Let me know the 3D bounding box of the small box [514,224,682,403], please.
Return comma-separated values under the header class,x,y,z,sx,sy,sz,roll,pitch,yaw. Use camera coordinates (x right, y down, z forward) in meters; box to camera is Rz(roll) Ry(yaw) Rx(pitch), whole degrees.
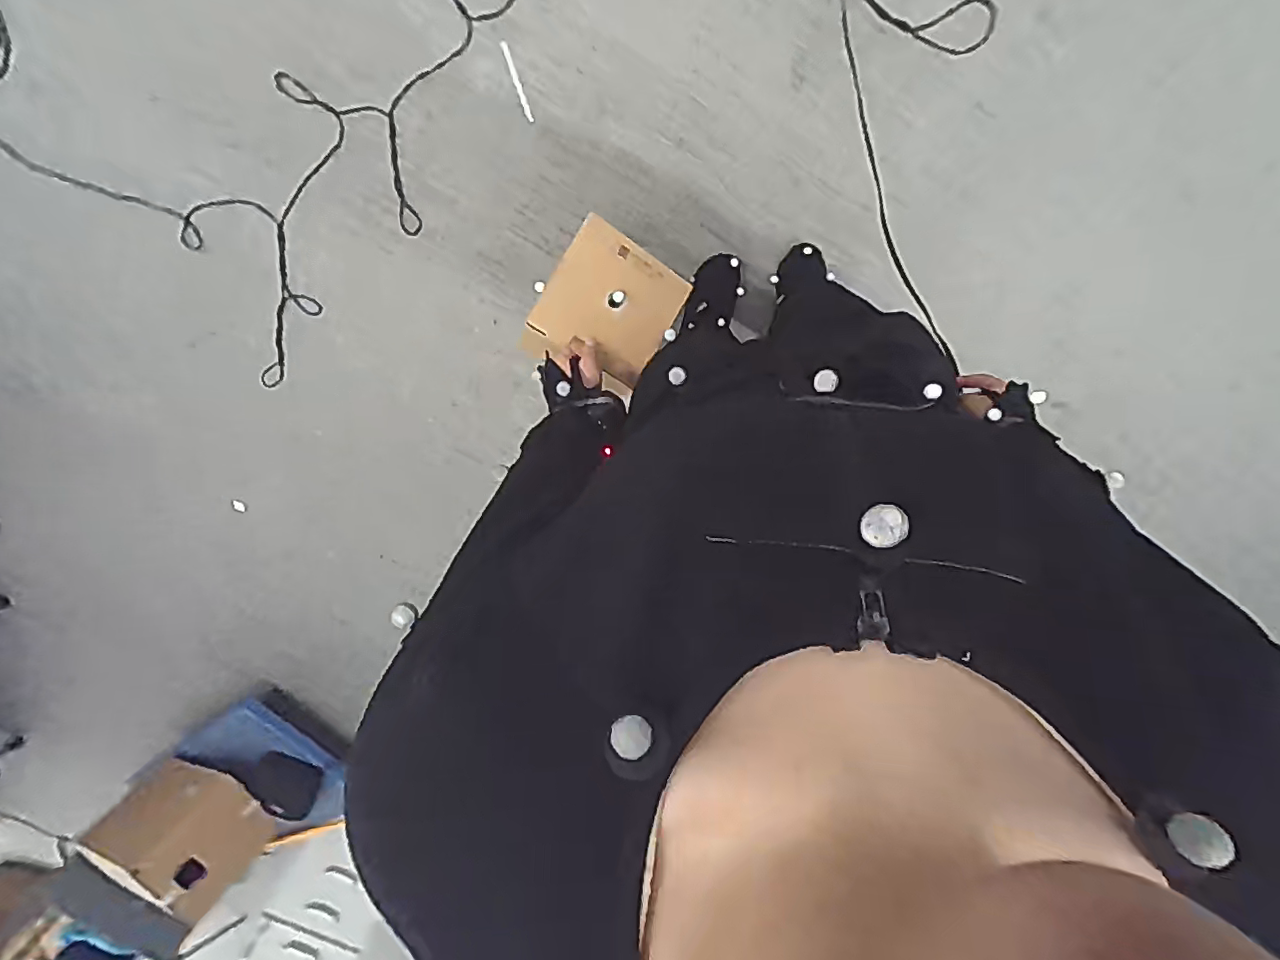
class,x,y,z,sx,sy,sz,roll,pitch,yaw
small box,-0.062,-0.231,0.781,0.168,0.179,0.176,31,84,-17
